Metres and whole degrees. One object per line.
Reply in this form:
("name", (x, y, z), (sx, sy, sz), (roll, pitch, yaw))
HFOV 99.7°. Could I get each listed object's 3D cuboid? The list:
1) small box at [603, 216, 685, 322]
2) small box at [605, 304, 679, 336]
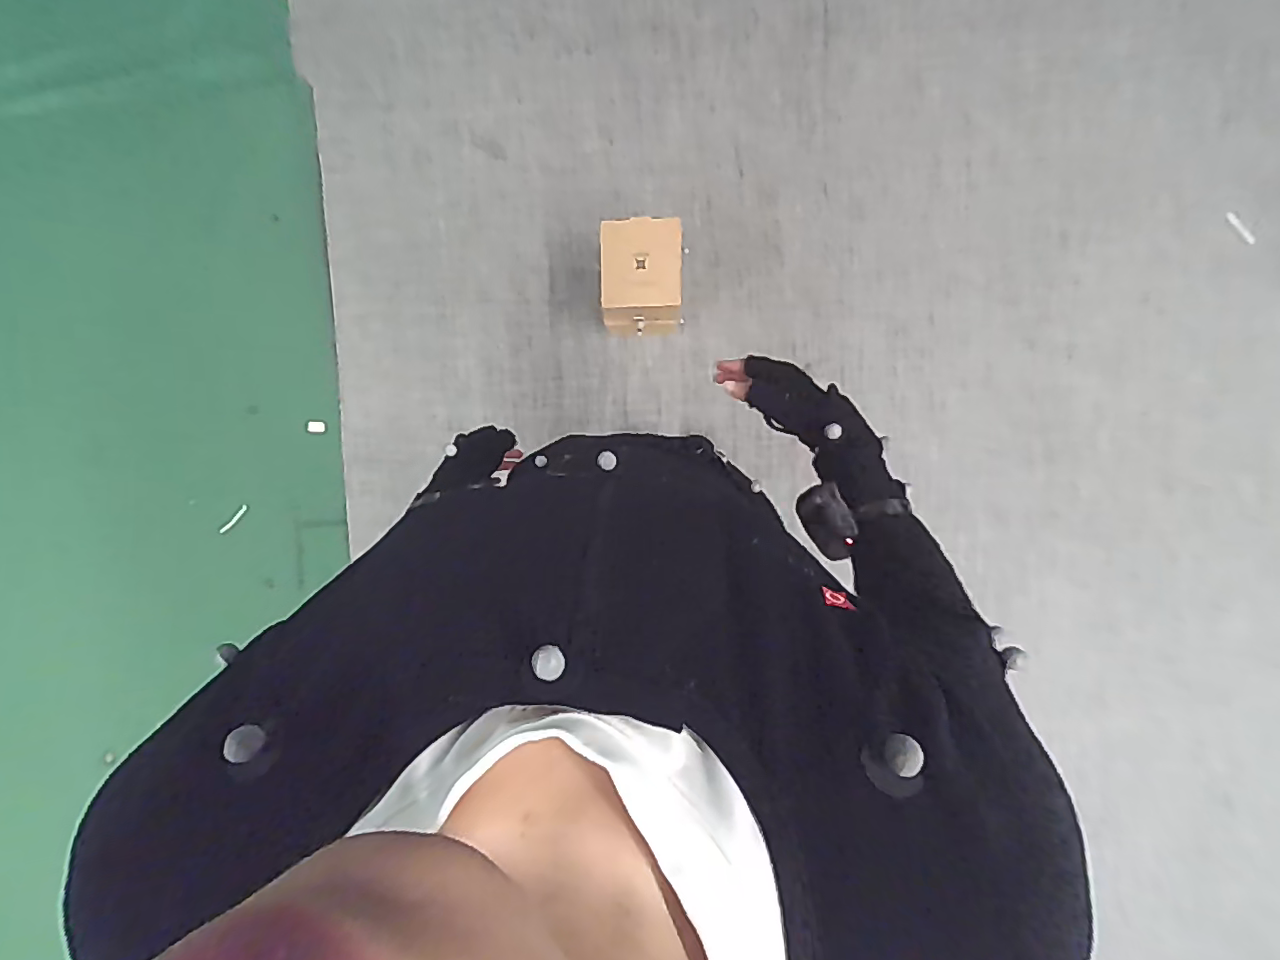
("small box", (0.013, -0.452, 1.181), (0.168, 0.176, 0.179), (-1, 96, 6))
("small box", (0.011, -0.457, 1.343), (0.179, 0.176, 0.168), (0, 95, 5))
